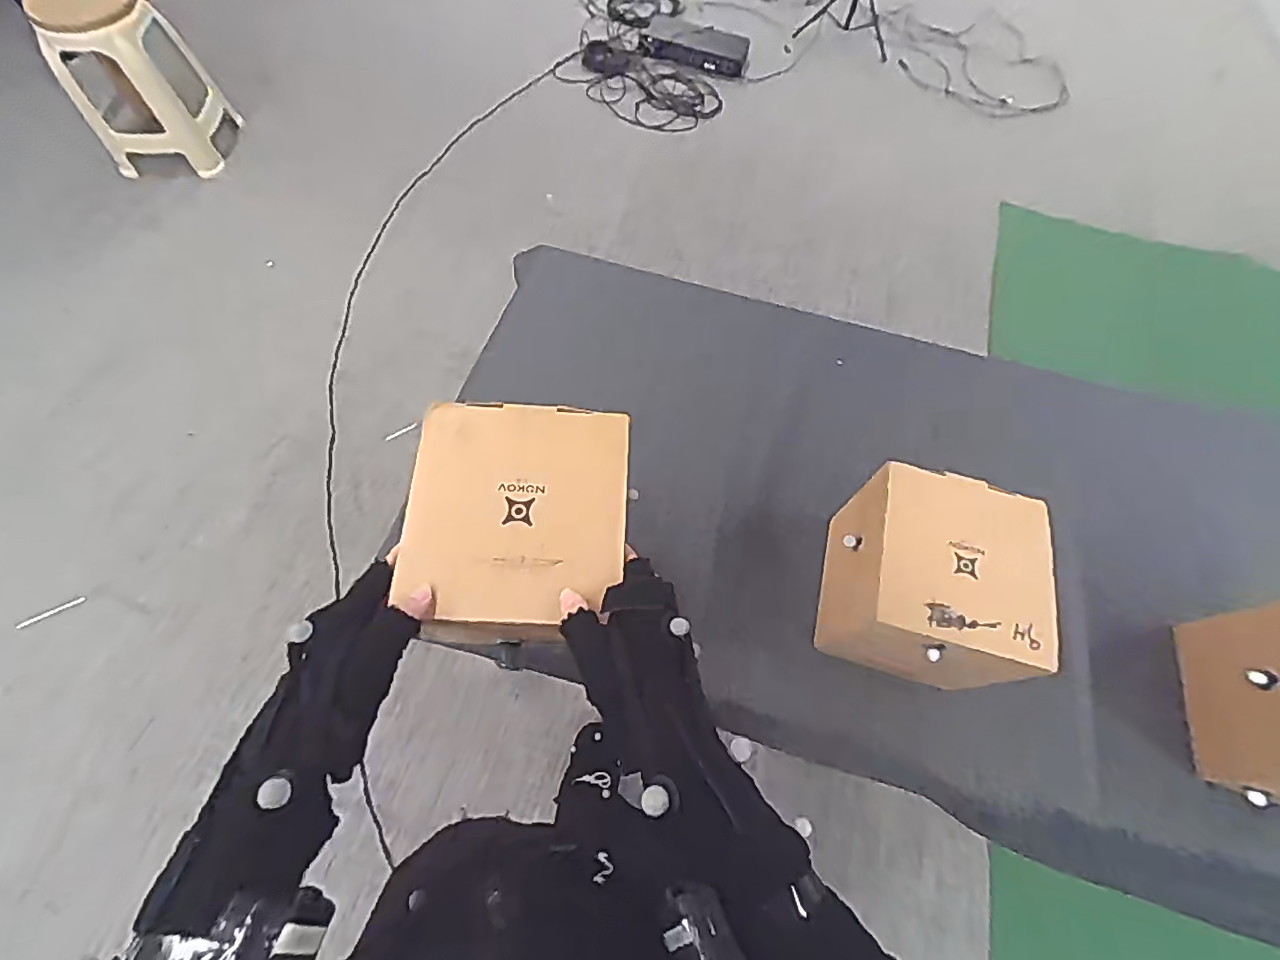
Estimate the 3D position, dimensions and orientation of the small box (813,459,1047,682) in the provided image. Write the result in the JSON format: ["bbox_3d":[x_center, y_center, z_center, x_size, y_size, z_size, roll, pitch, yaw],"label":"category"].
[{"bbox_3d":[0.305,0.107,0.600,0.168,0.176,0.179,15,64,4],"label":"small box"}]

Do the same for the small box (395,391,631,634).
[{"bbox_3d":[-0.099,0.040,0.495,0.168,0.176,0.179,3,69,-4],"label":"small box"}]
